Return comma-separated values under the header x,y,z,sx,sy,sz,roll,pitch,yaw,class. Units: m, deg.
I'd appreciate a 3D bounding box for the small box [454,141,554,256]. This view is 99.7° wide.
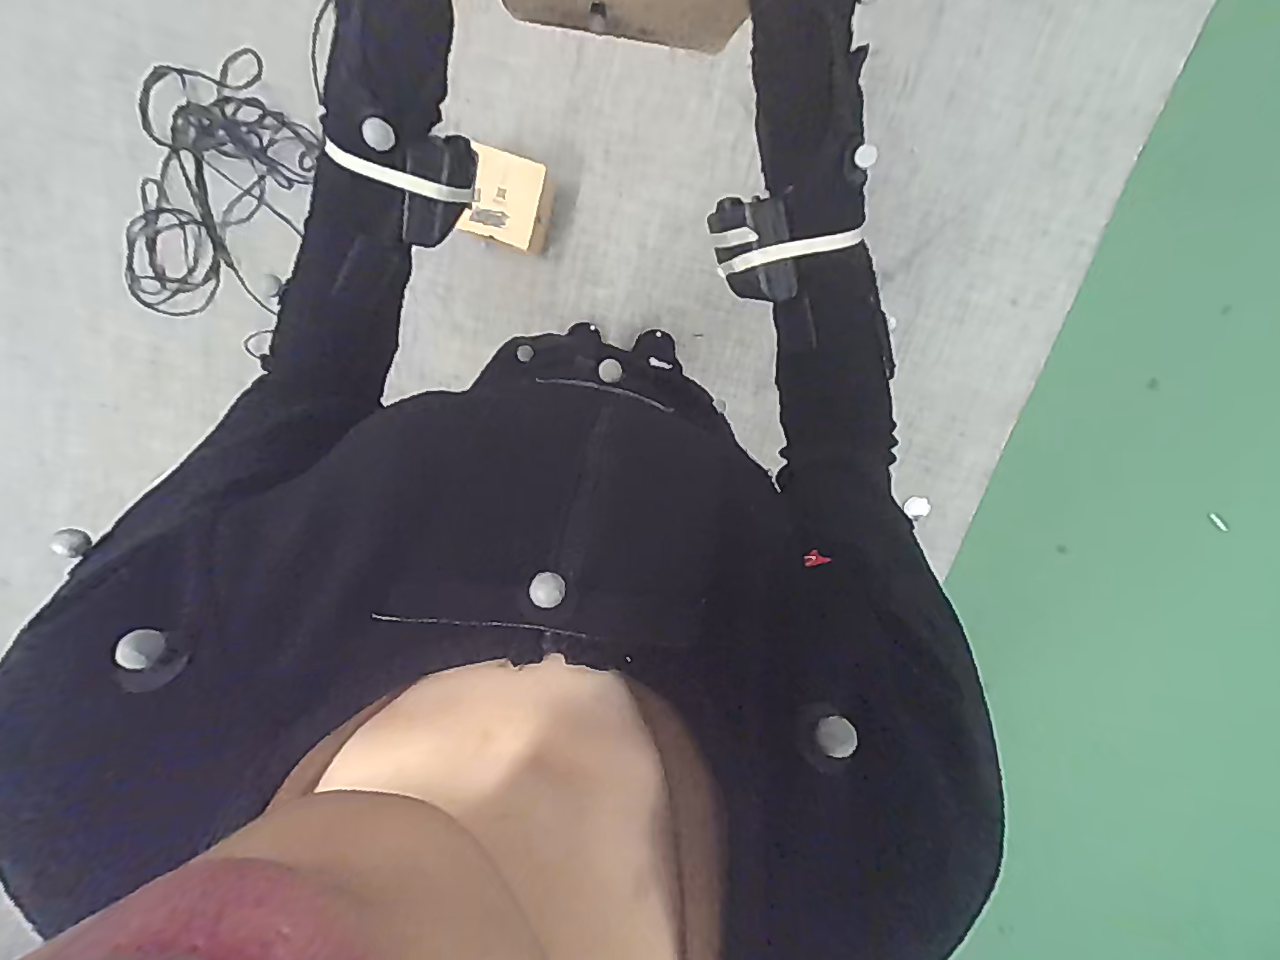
x,y,z,sx,sy,sz,roll,pitch,yaw,class
-0.303,-0.627,1.233,0.168,0.176,0.179,16,105,-5,small box
